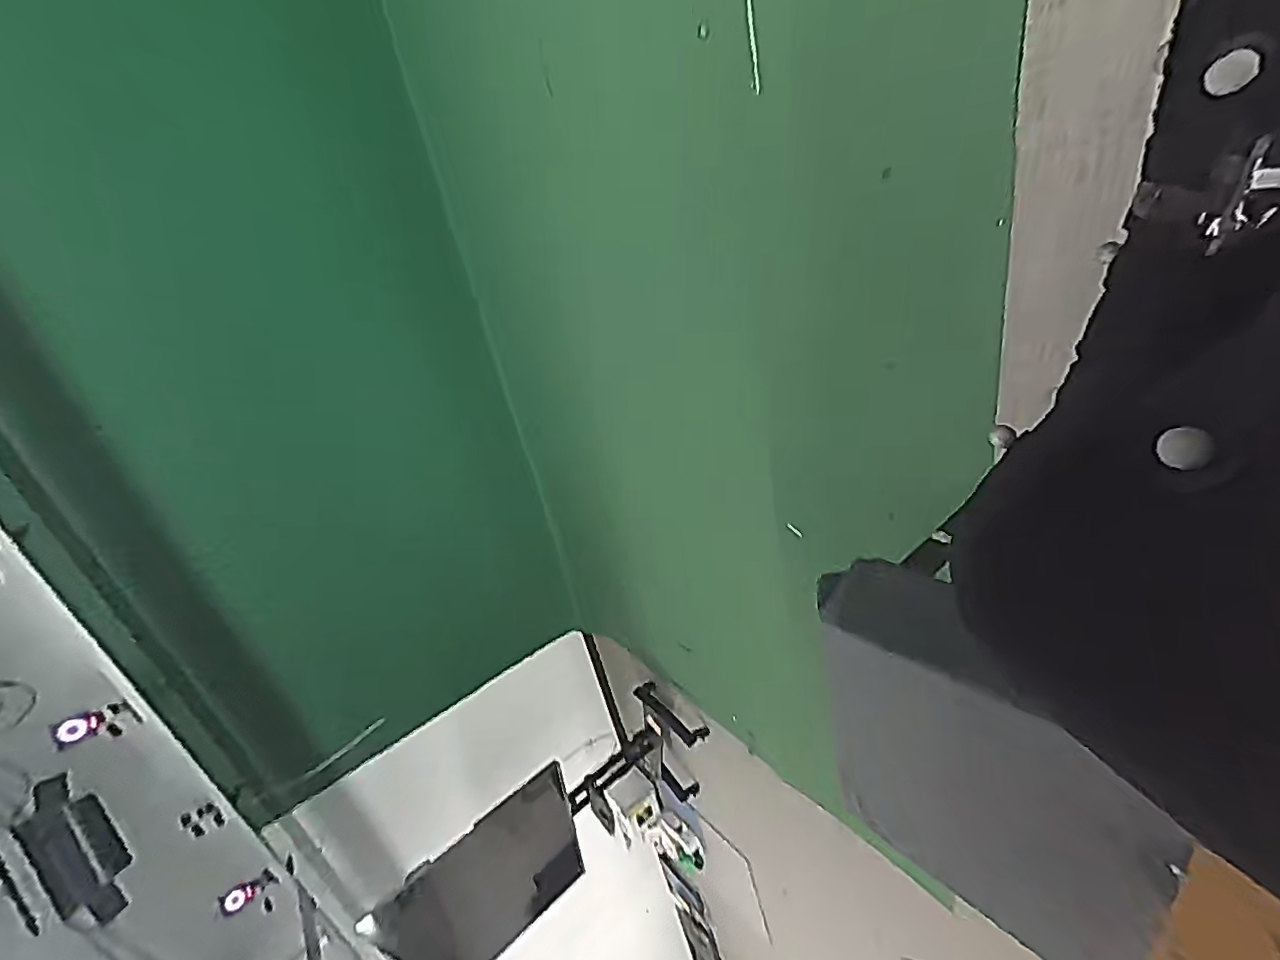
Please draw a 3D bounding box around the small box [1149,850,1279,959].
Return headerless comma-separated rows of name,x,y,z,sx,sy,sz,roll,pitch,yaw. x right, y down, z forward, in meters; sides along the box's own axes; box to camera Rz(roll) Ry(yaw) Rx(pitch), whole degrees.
small box,0.746,0.586,0.638,0.179,0.176,0.168,24,137,49
